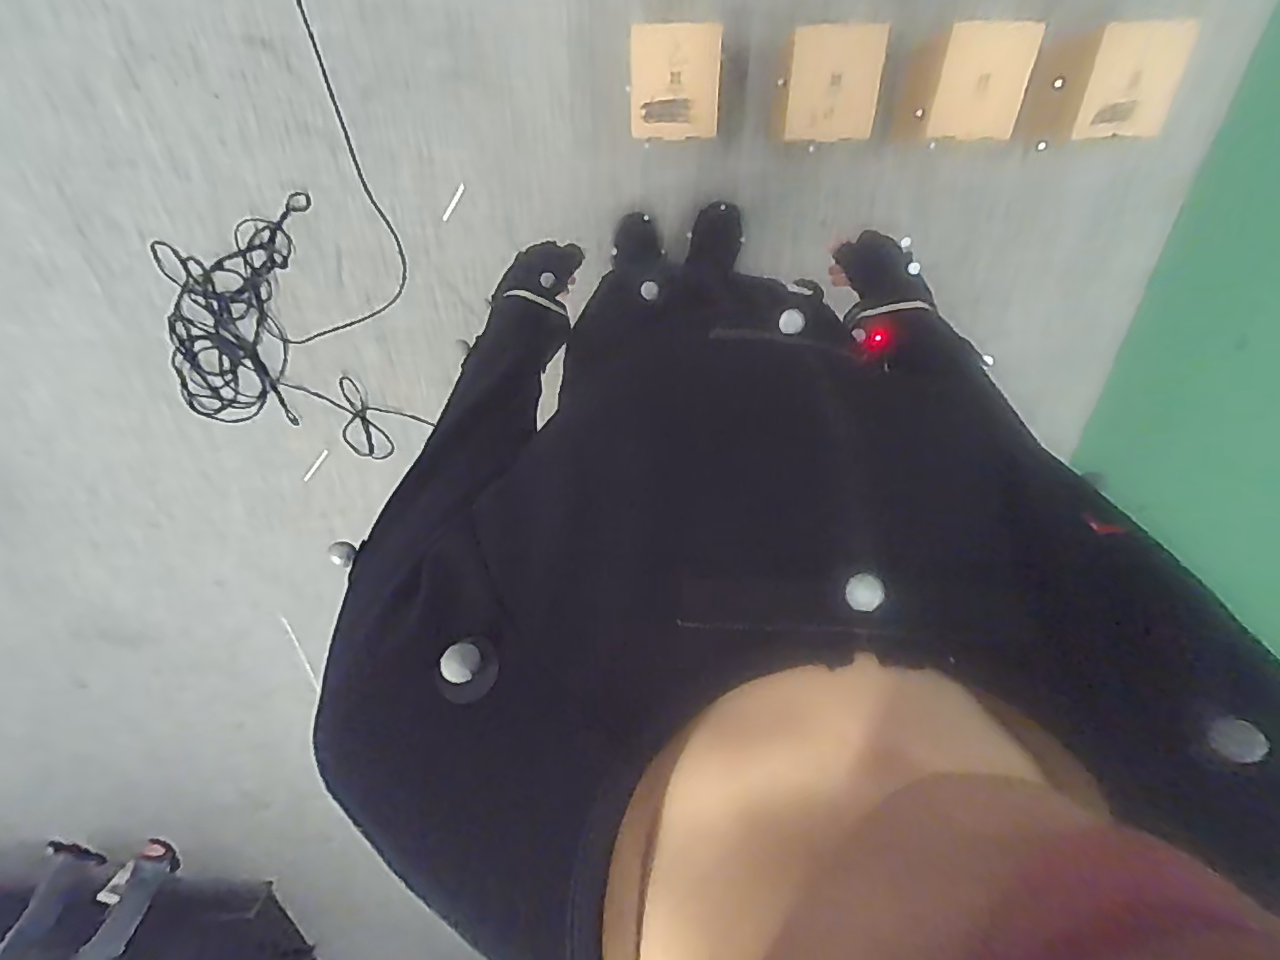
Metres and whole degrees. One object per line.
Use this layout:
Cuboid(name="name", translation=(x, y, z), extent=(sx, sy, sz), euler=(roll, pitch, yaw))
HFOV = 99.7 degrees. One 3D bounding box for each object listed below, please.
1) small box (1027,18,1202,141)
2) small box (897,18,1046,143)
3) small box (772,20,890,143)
Cuboid(name="small box", translation=(0.896, -0.763, 1.047), extent=(0.168, 0.176, 0.179), euler=(-1, 120, 2))
Cuboid(name="small box", translation=(0.628, -0.767, 1.053), extent=(0.168, 0.176, 0.179), euler=(2, 121, 0))
Cuboid(name="small box", translation=(0.359, -0.767, 1.057), extent=(0.168, 0.176, 0.179), euler=(1, 121, 2))
